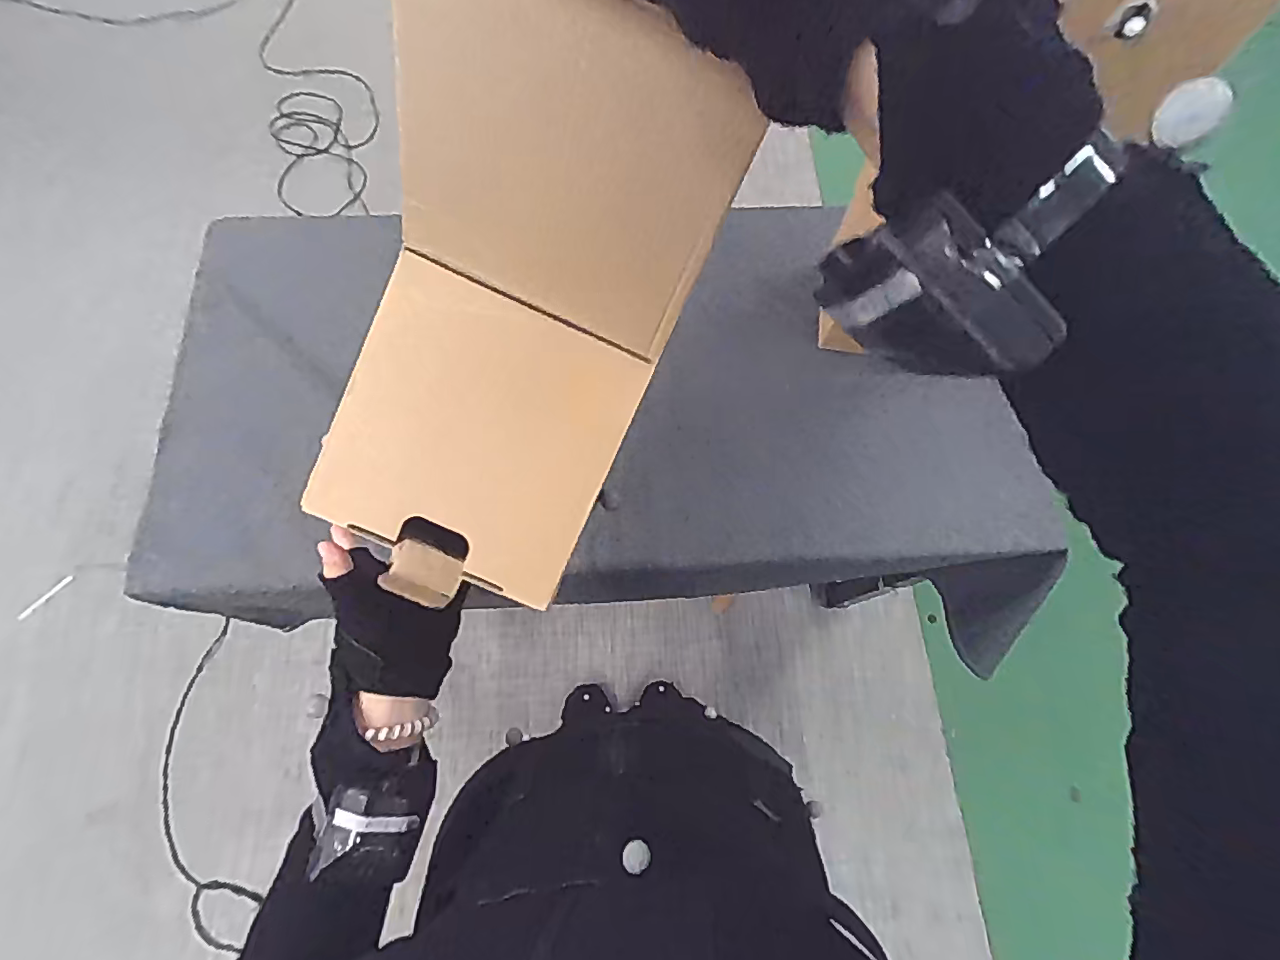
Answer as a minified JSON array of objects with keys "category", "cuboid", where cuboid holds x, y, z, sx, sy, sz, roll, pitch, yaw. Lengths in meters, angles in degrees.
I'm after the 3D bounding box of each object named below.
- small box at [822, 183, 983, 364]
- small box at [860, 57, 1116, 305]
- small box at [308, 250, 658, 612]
[{"category":"small box","cuboid":[0.368,-0.282,0.763,0.179,0.176,0.168,9,70,2]},{"category":"small box","cuboid":[0.361,-0.324,0.603,0.168,0.176,0.179,3,70,1]},{"category":"small box","cuboid":[-0.100,-0.038,0.410,0.168,0.176,0.179,25,99,-4]}]
